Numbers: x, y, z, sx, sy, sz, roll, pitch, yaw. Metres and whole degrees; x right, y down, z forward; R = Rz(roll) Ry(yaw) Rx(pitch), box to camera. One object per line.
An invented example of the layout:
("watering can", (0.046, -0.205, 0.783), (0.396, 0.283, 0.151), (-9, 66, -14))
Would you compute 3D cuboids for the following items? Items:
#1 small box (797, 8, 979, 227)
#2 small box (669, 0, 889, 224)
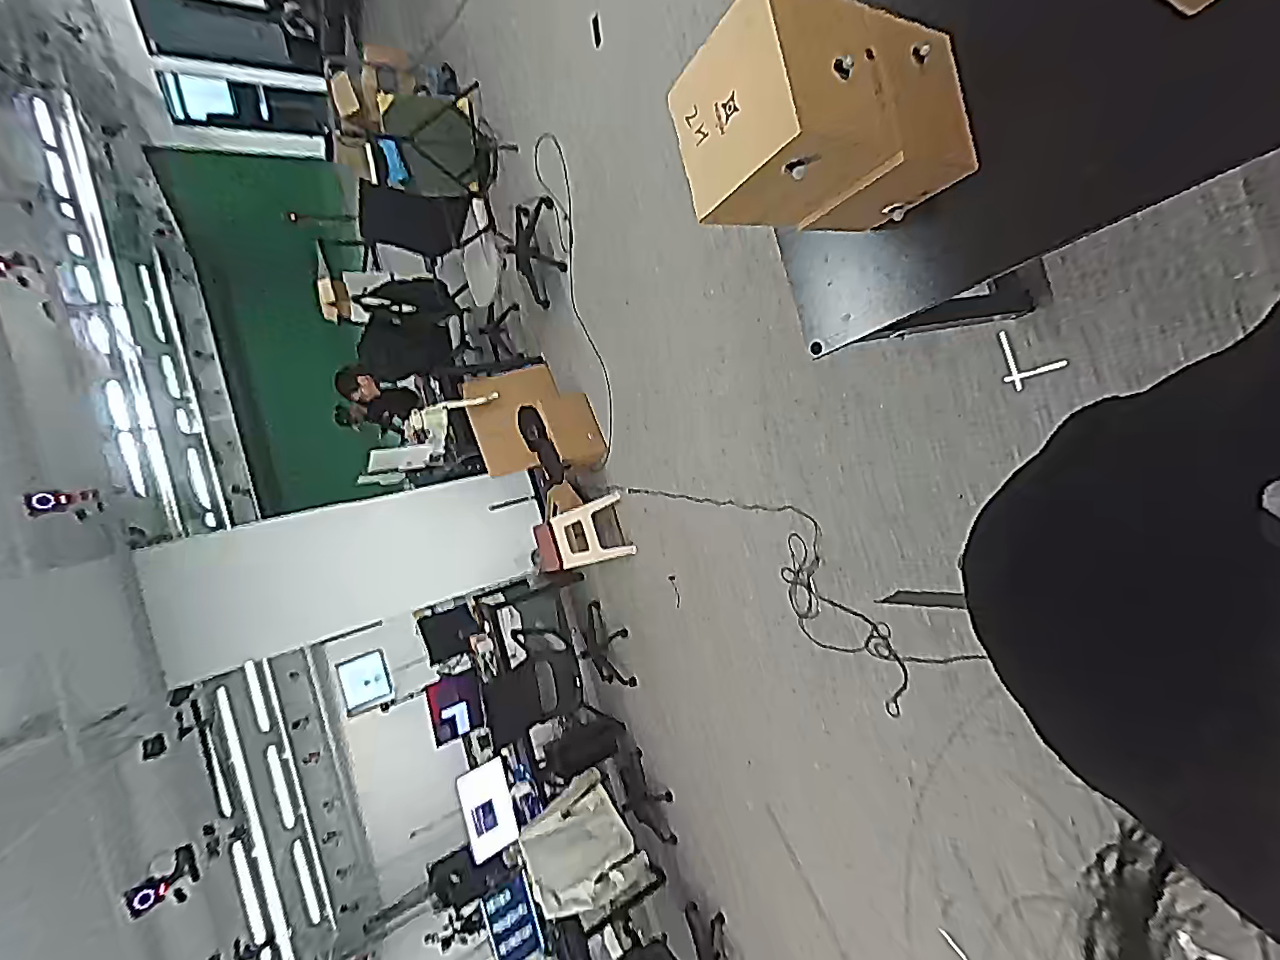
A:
("small box", (0.307, -0.455, 0.713), (0.168, 0.176, 0.179), (-12, 94, 61))
("small box", (0.165, -0.424, 0.634), (0.179, 0.176, 0.168), (-12, 92, 61))
